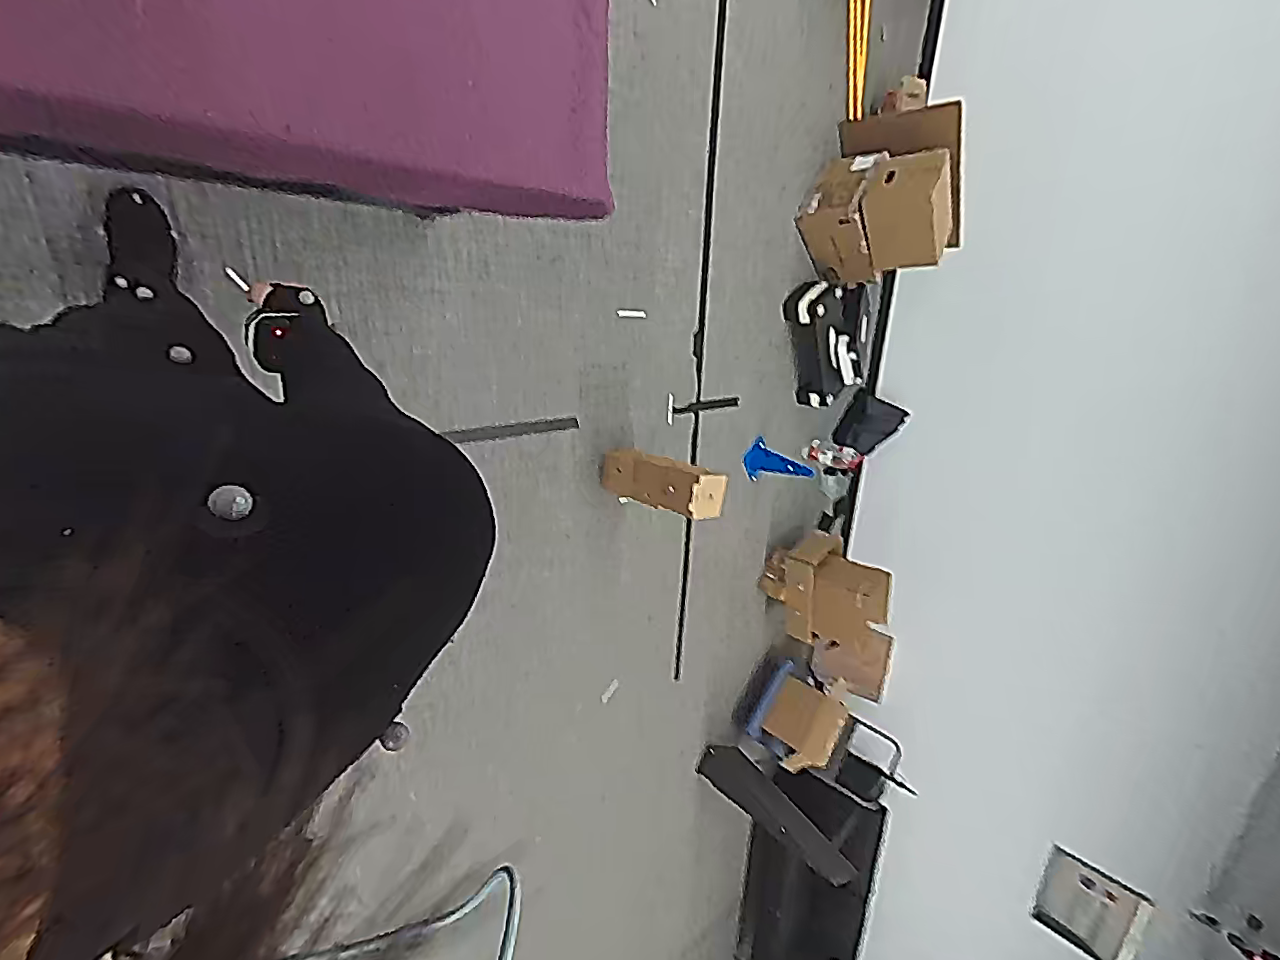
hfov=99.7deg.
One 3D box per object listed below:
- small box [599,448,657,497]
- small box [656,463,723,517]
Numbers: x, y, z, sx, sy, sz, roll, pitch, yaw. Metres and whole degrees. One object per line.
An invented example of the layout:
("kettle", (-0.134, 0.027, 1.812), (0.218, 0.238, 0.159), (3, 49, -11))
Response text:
("small box", (-0.054, -0.034, 2.283), (0.179, 0.176, 0.168), (-10, 112, -45))
("small box", (0.189, 0.034, 2.070), (0.179, 0.176, 0.168), (-1, 106, -47))
